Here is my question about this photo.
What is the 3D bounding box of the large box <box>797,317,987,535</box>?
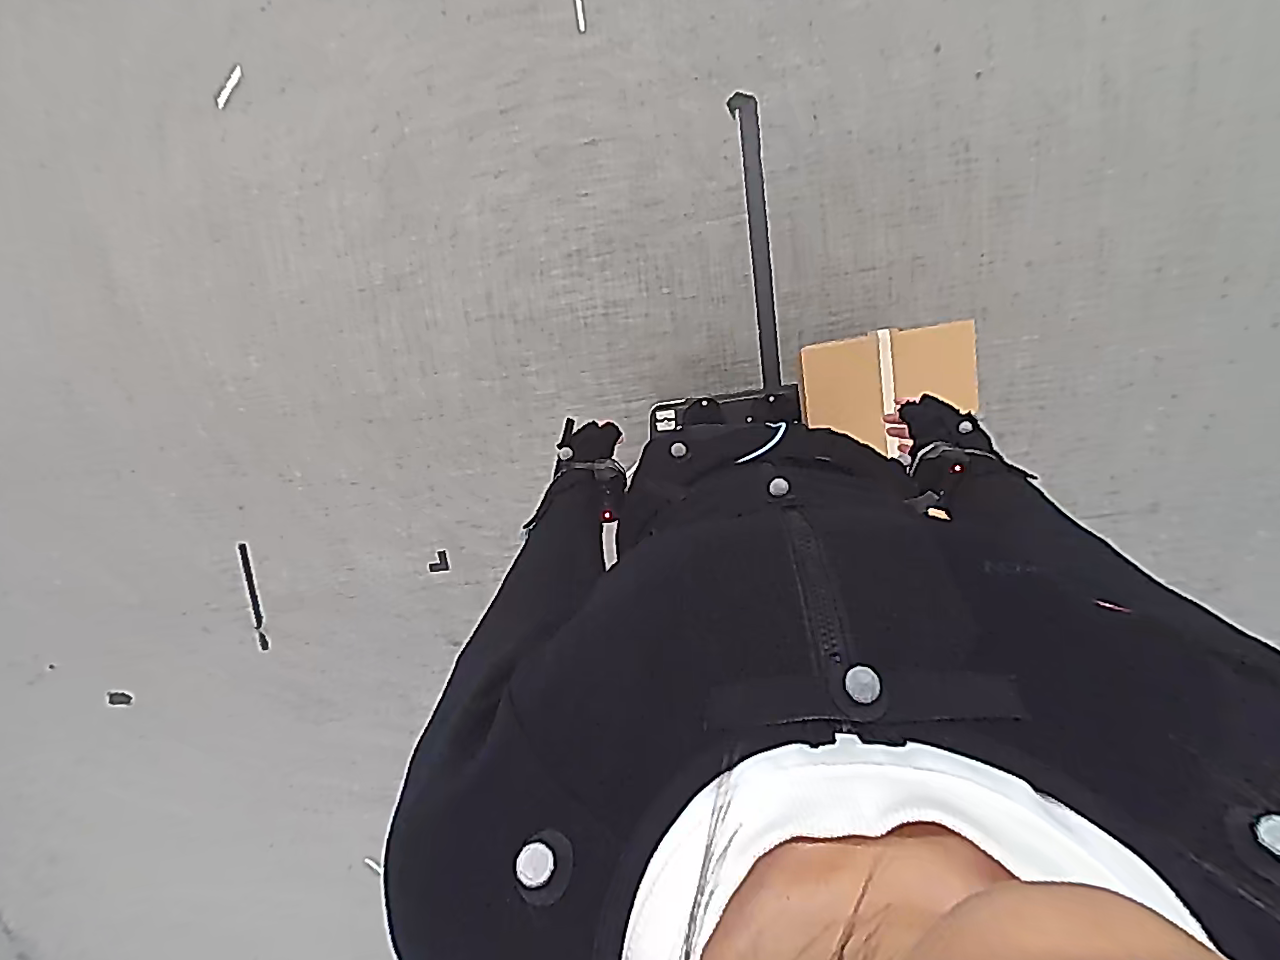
[{"bbox_3d":[0.541,-0.125,1.216,0.320,0.320,0.408,-6,100,16],"label":"large box"}]
